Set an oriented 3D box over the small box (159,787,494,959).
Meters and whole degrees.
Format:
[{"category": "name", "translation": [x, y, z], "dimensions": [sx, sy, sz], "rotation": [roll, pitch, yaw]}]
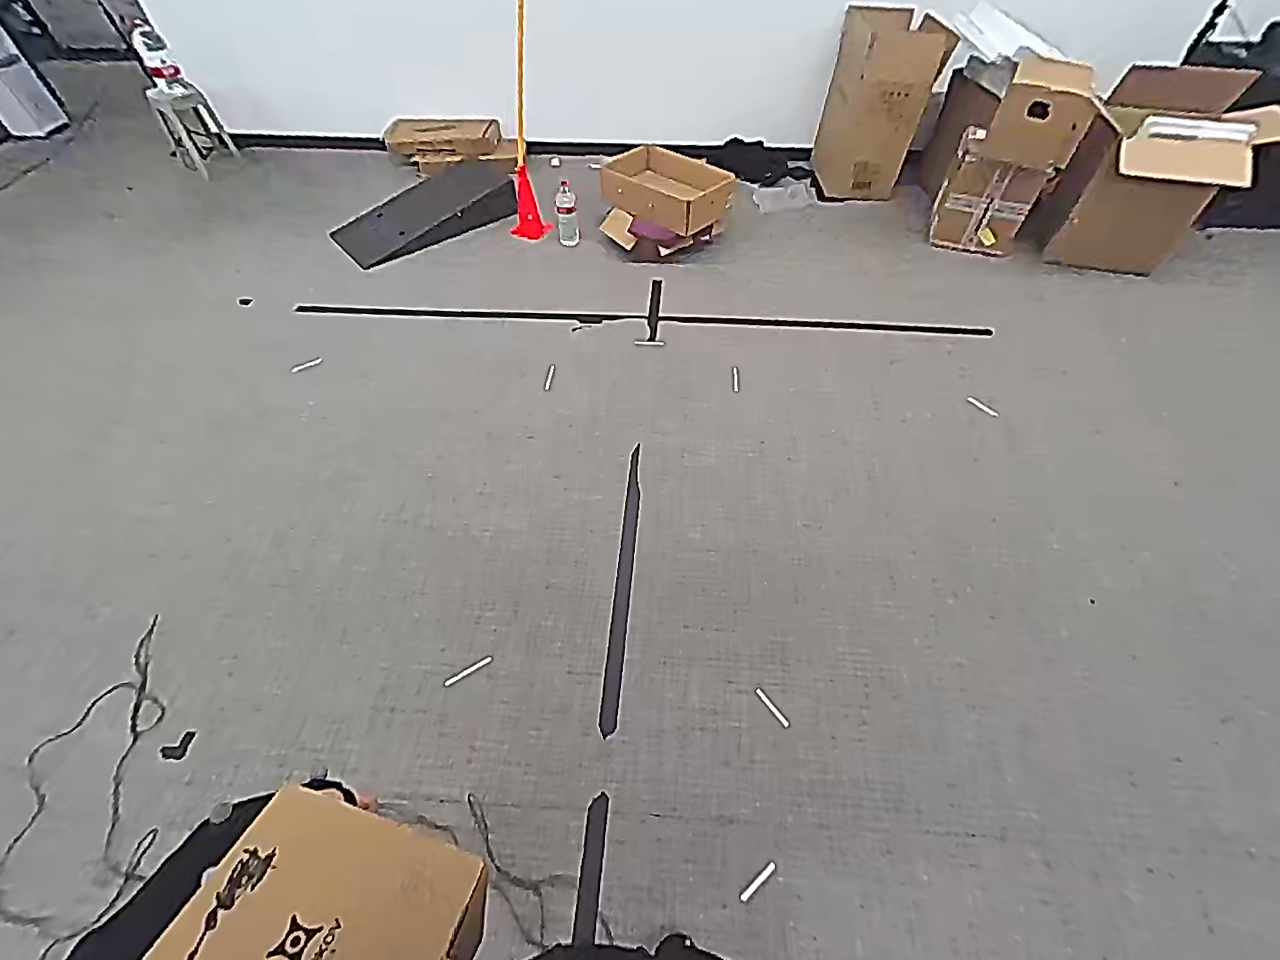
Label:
[{"category": "small box", "translation": [-0.229, 0.375, 0.401], "dimensions": [0.179, 0.176, 0.168], "rotation": [18, 33, 5]}]
